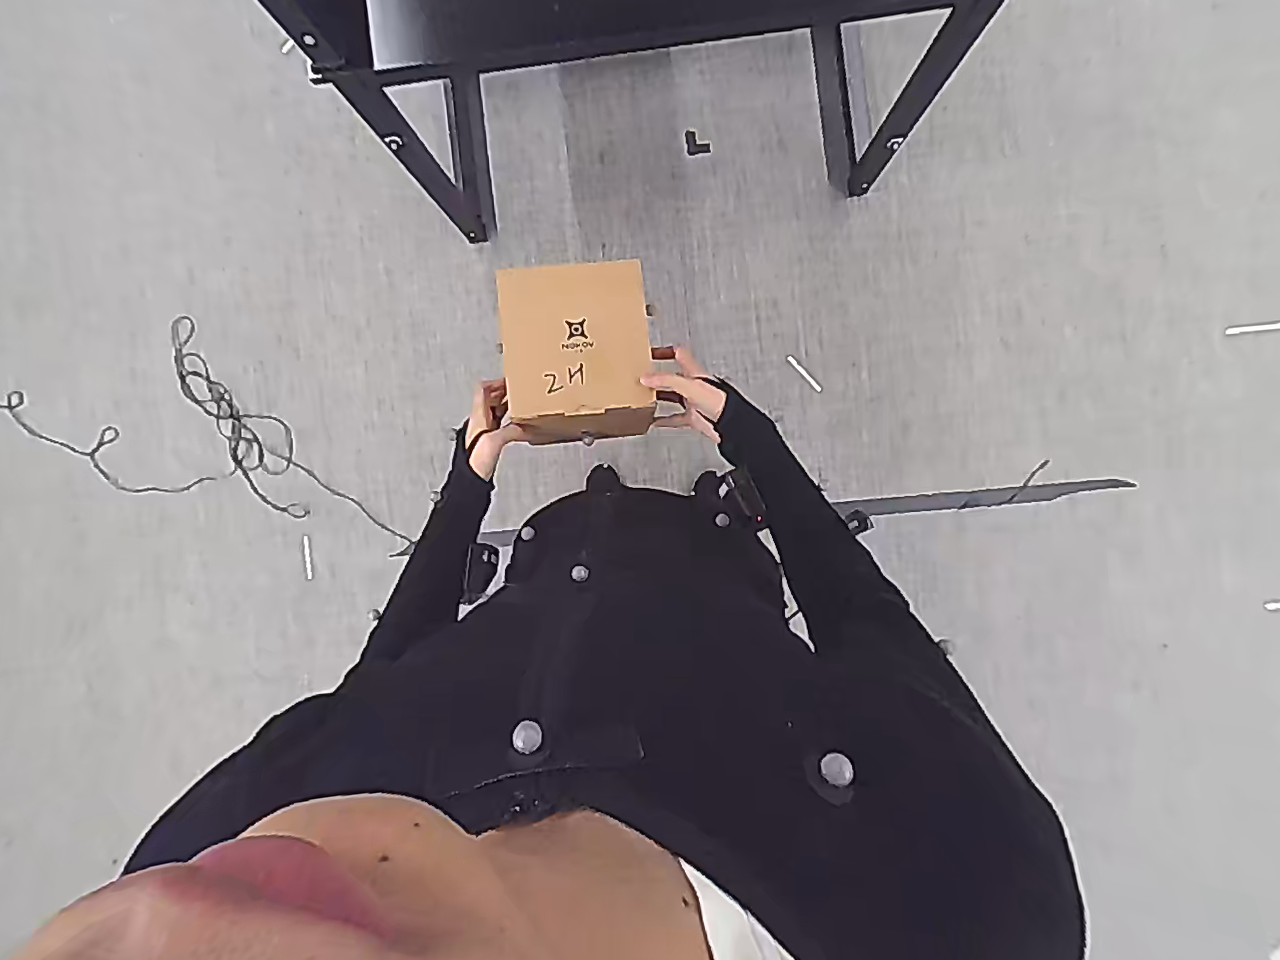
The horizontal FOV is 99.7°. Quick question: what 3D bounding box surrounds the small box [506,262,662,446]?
[{"bbox_3d":[-0.069,-0.149,0.685,0.168,0.176,0.179,-6,84,-4],"label":"small box"}]
